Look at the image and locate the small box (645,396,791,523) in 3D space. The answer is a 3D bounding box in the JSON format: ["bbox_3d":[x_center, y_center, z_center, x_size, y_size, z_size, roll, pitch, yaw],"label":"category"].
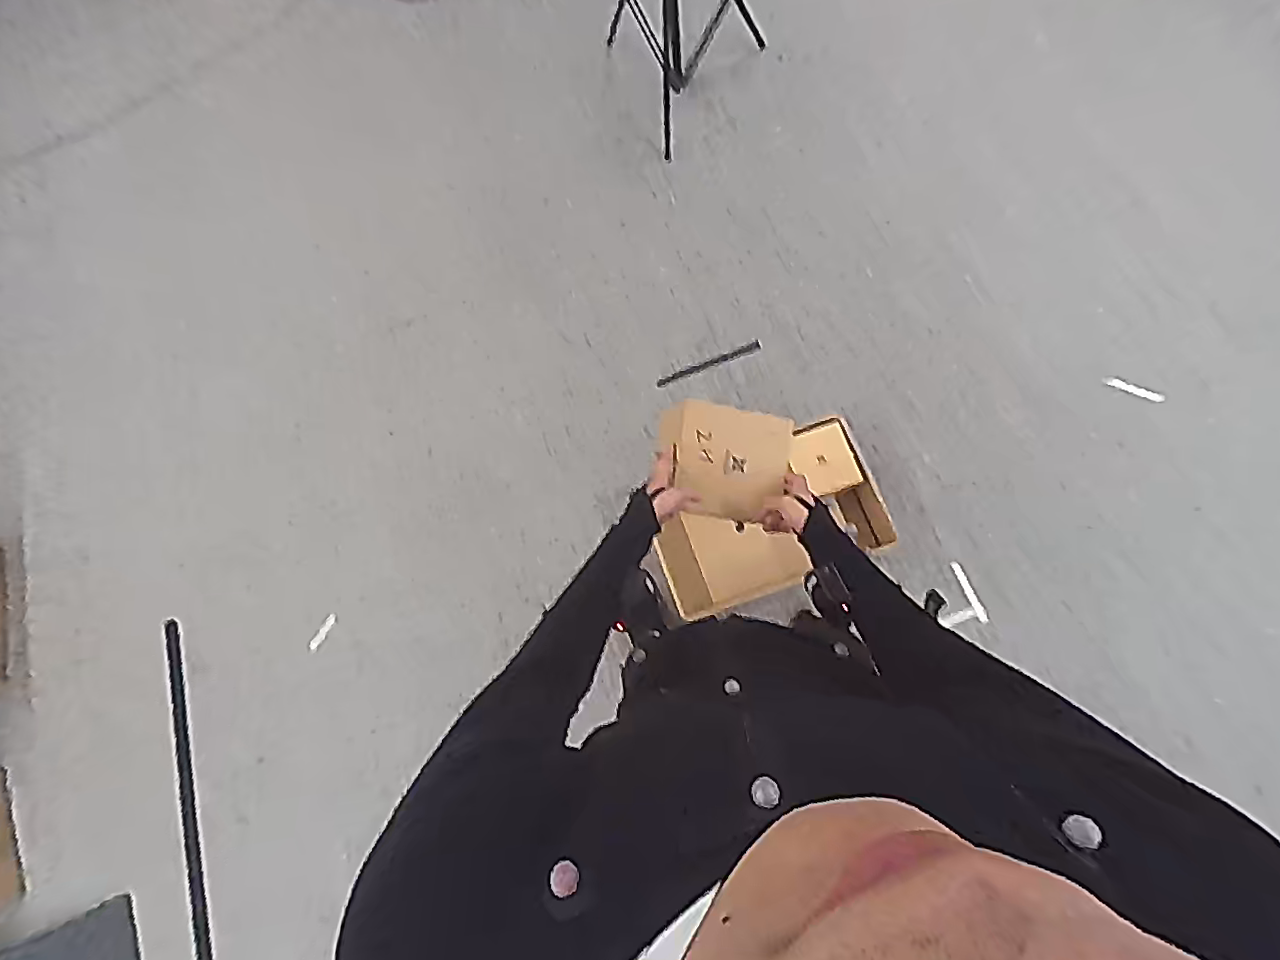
[{"bbox_3d":[0.119,-0.029,0.879,0.179,0.176,0.168,10,87,-10],"label":"small box"}]

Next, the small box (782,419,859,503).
[{"bbox_3d":[0.490,-0.047,1.539,0.168,0.176,0.179,-20,79,3],"label":"small box"}]
